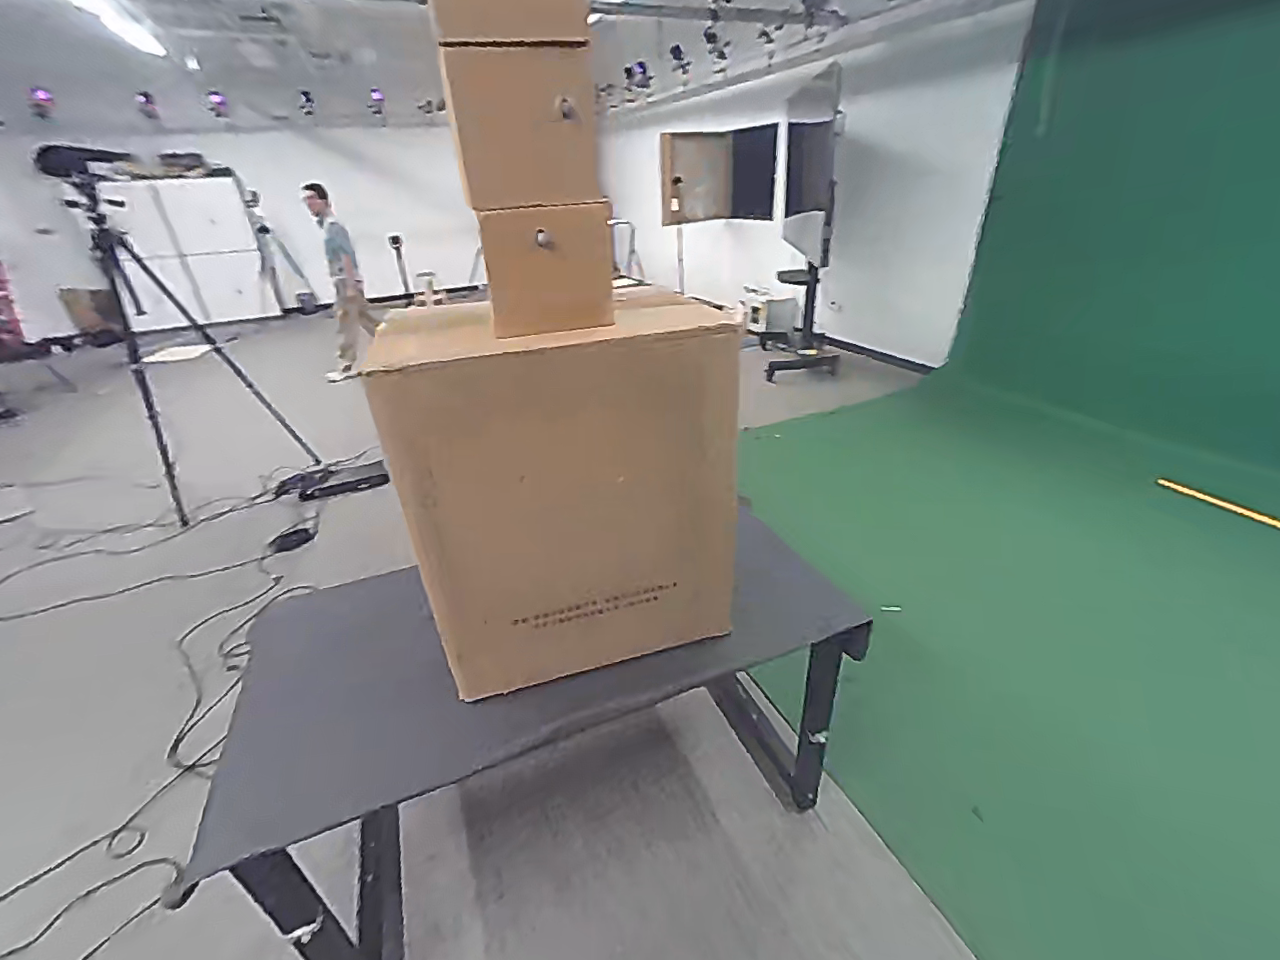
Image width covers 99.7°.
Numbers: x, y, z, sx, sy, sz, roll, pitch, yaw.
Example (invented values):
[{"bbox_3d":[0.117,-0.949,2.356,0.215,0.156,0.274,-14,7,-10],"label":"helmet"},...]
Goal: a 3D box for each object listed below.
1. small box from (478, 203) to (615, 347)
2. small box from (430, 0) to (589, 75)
[{"bbox_3d":[-0.137,-0.309,0.806,0.179,0.176,0.168,-10,32,-12],"label":"small box"},{"bbox_3d":[-0.159,-0.592,0.640,0.179,0.176,0.168,-10,31,-11],"label":"small box"}]
